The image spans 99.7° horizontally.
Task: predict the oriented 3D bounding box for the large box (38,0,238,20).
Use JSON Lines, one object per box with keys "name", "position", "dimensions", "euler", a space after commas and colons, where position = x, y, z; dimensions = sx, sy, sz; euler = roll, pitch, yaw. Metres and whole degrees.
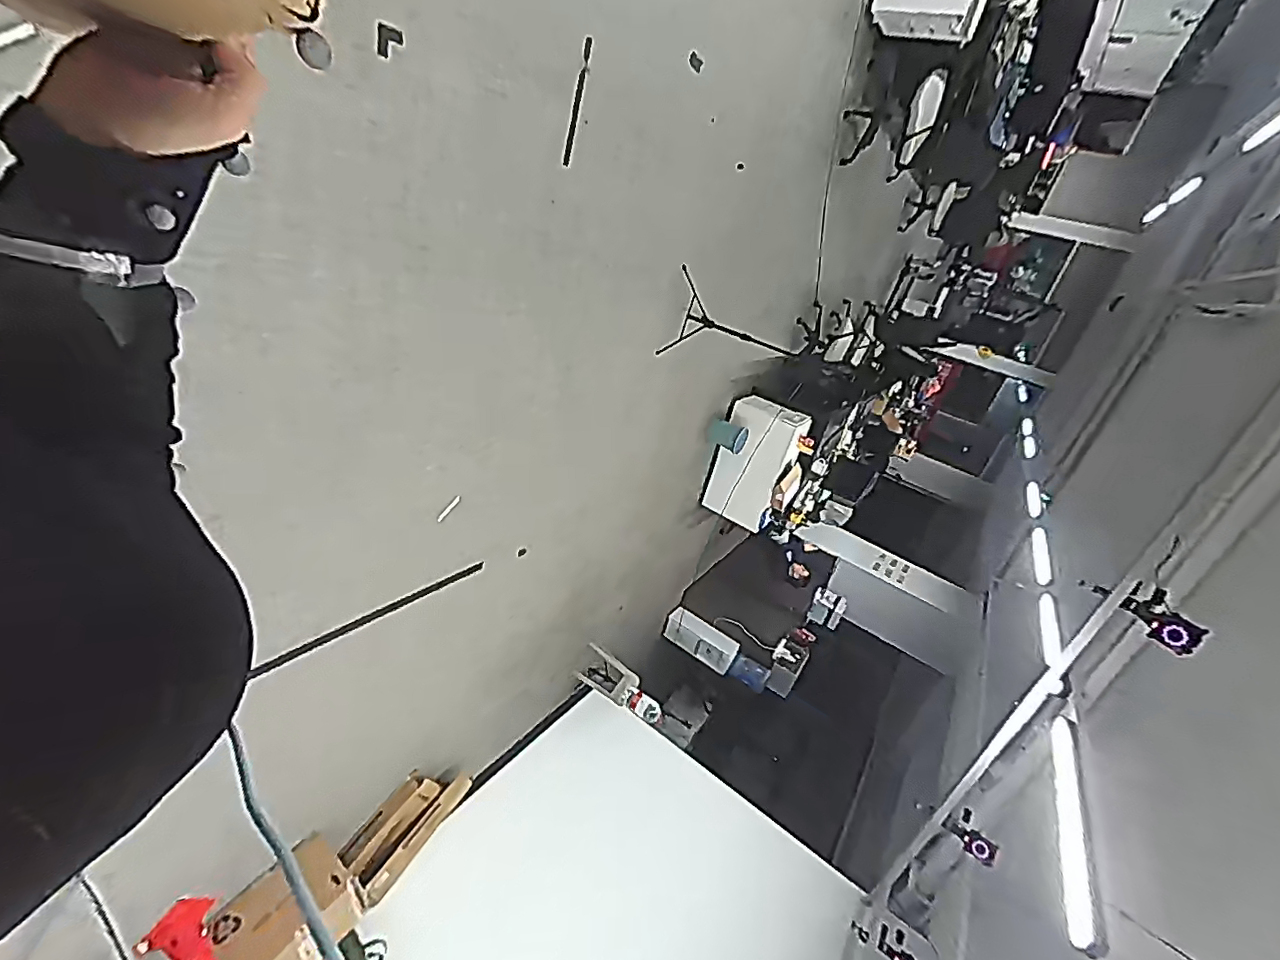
{"name": "large box", "position": [-0.311, -0.364, 0.068], "dimensions": [0.408, 0.320, 0.320], "euler": [-7, 120, -56]}
